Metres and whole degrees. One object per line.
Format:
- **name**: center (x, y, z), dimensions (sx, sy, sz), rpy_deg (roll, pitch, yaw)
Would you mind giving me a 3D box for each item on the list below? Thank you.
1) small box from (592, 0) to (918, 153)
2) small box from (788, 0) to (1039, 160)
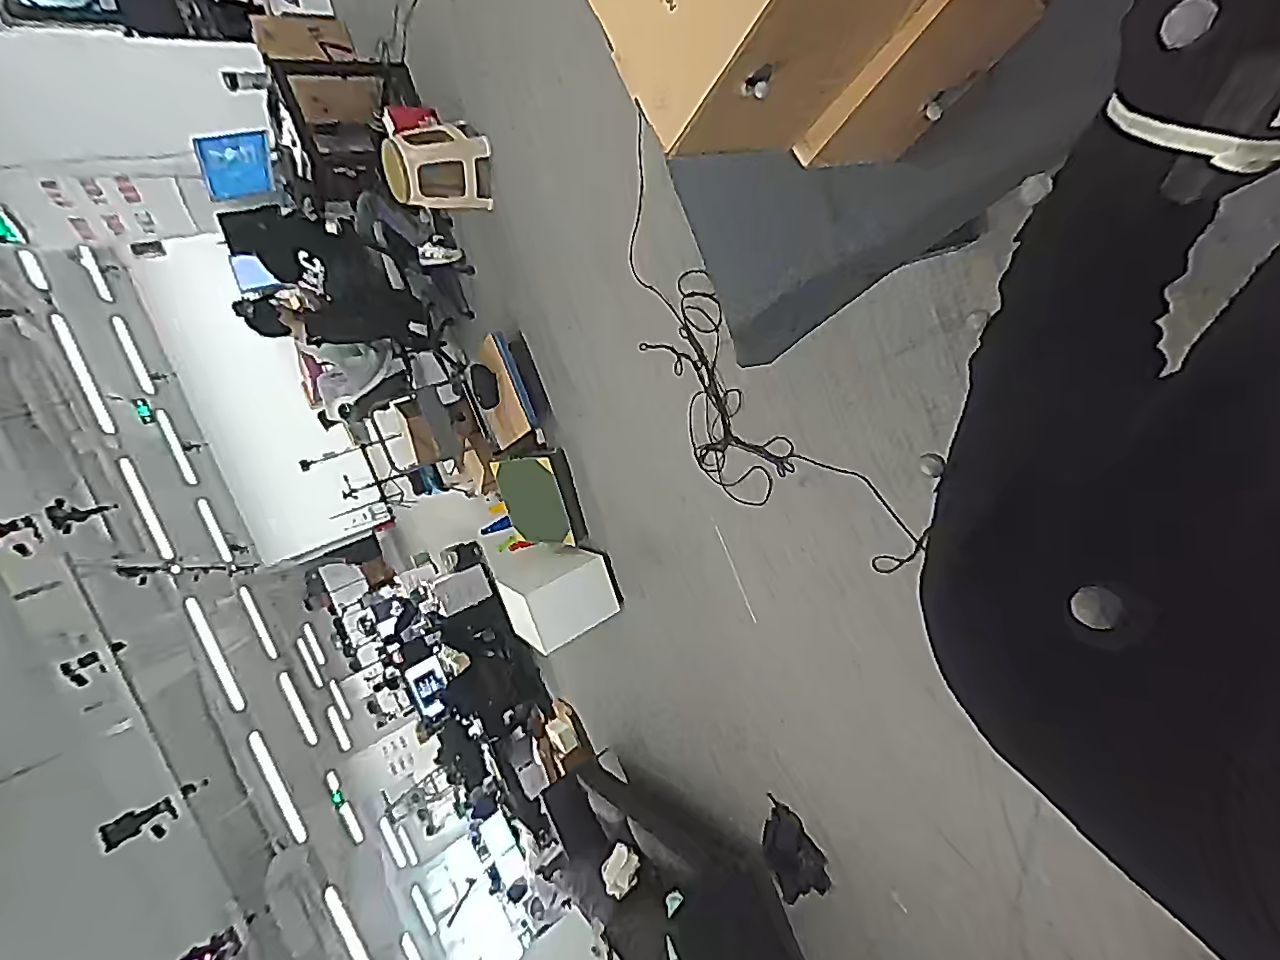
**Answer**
- **small box**: center (0.090, -0.395, 0.424), dimensions (0.179, 0.176, 0.168), rpy_deg (-27, 89, 59)
- **small box**: center (0.222, -0.438, 0.509), dimensions (0.179, 0.176, 0.168), rpy_deg (63, 150, 4)
